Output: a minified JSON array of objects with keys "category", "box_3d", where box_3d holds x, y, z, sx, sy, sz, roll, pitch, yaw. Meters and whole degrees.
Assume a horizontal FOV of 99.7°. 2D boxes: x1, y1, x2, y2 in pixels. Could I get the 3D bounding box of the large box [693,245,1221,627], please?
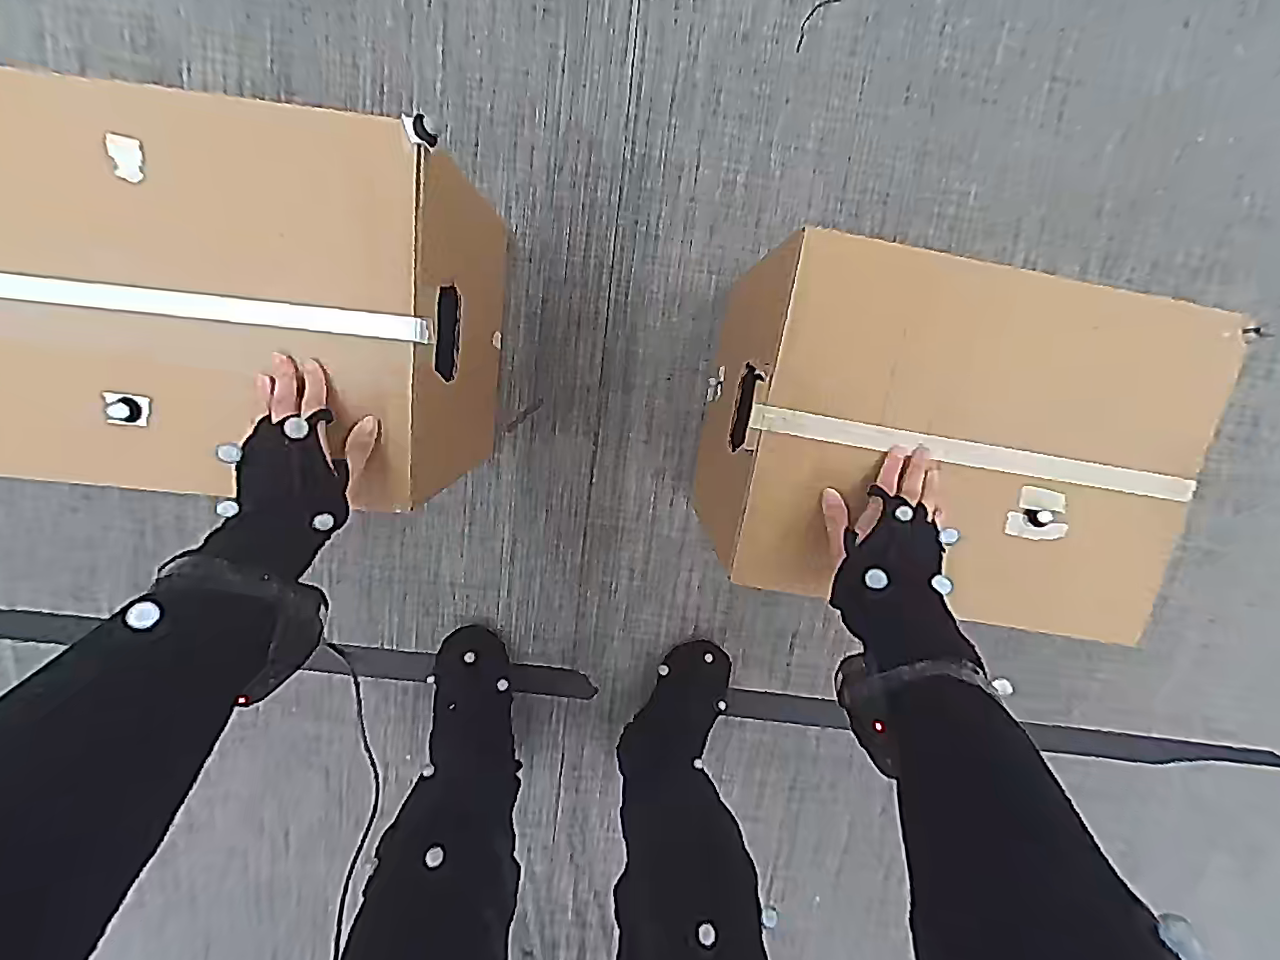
[{"category":"large box","box_3d":[0.301,-0.055,0.647,0.408,0.320,0.320,9,102,-5]}]
